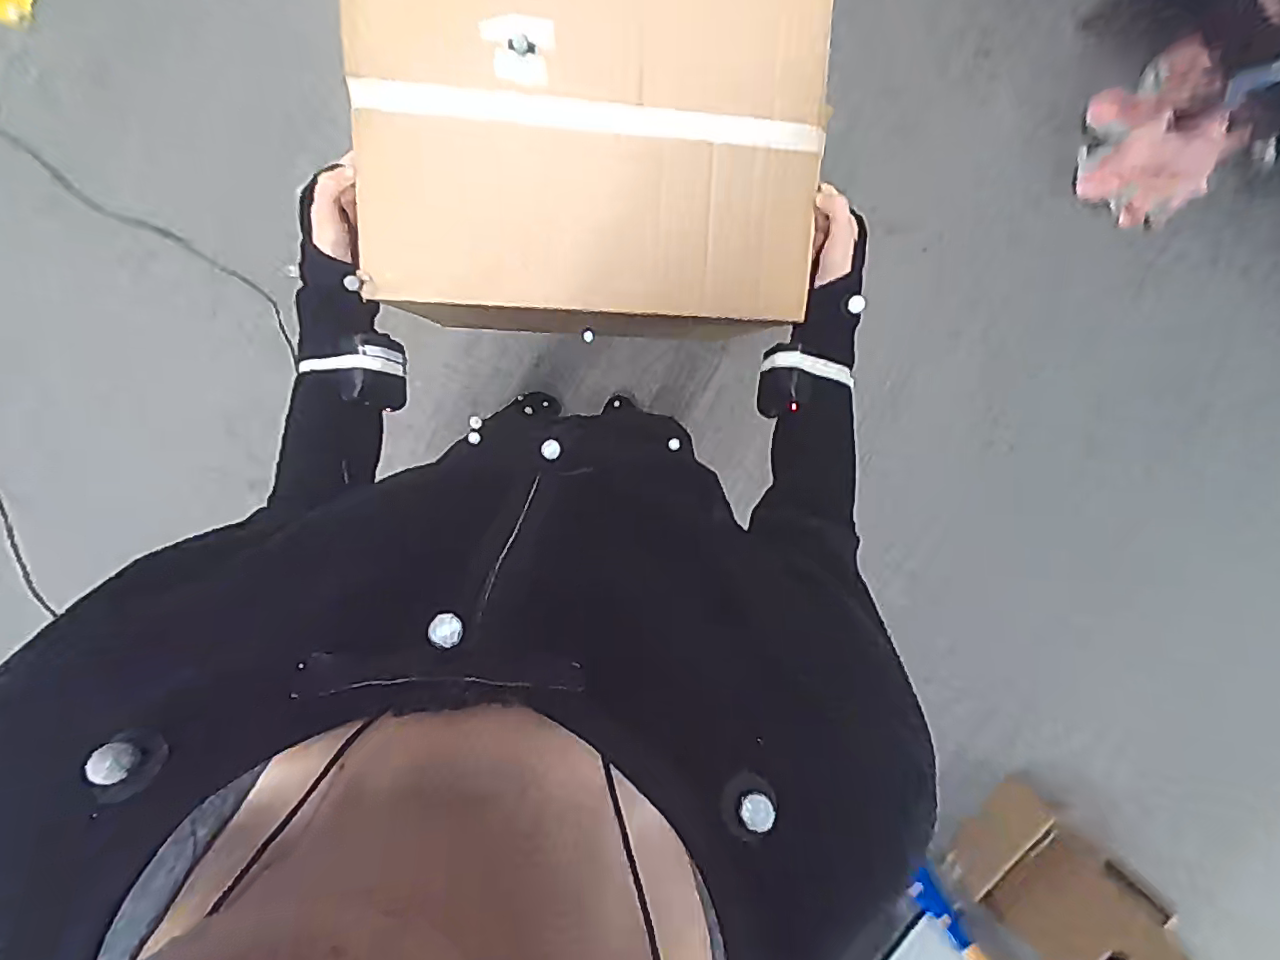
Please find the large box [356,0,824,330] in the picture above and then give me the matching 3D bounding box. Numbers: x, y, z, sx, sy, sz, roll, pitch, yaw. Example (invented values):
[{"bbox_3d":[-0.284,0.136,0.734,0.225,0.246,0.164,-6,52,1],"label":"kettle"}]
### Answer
[{"bbox_3d":[-0.052,-0.340,0.623,0.408,0.320,0.320,0,101,-7],"label":"large box"}]
